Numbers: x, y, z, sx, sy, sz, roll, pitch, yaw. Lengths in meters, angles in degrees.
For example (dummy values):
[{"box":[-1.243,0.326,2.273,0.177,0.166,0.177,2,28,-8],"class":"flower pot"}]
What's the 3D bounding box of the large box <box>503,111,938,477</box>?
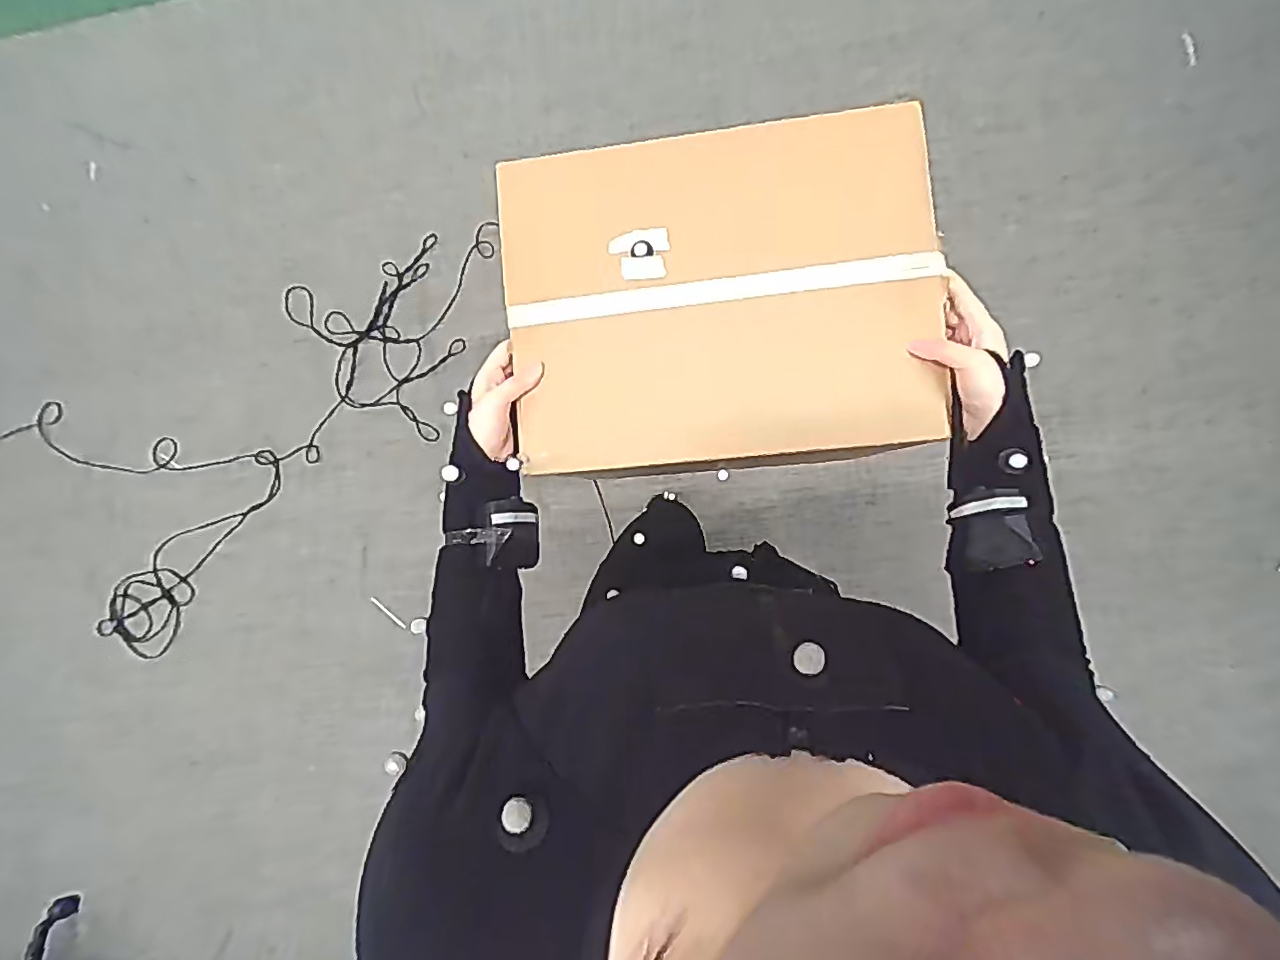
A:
[{"box":[0.088,-0.175,0.674,0.408,0.320,0.320,-5,88,8],"class":"large box"}]
